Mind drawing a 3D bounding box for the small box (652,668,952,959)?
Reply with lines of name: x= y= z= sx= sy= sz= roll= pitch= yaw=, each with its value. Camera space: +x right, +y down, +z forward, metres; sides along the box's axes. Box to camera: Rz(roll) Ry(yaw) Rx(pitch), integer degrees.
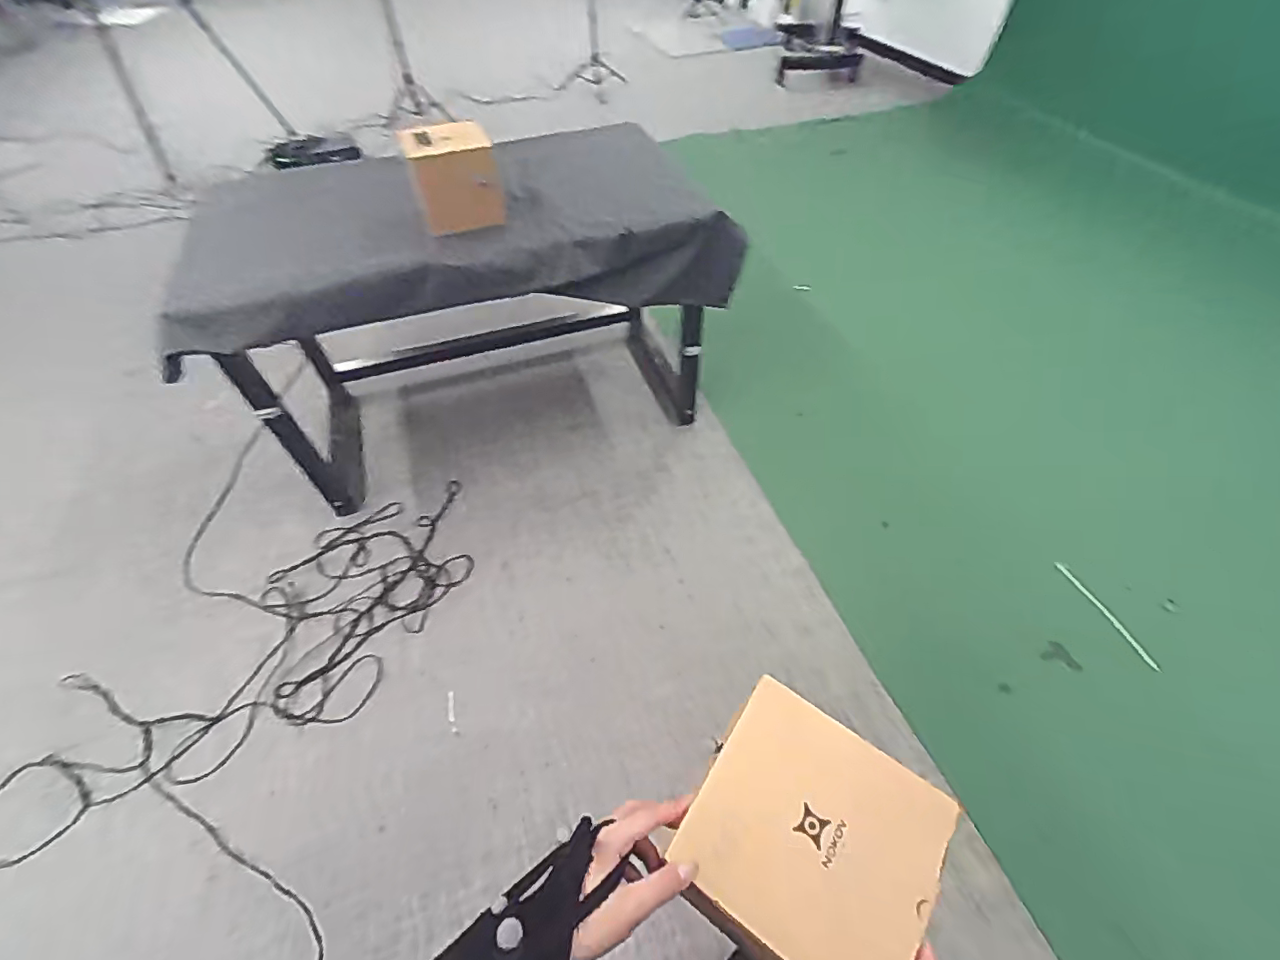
small box: x=0.125 y=0.305 z=0.471 sx=0.179 sy=0.176 sz=0.168 roll=30 pitch=56 yaw=18
